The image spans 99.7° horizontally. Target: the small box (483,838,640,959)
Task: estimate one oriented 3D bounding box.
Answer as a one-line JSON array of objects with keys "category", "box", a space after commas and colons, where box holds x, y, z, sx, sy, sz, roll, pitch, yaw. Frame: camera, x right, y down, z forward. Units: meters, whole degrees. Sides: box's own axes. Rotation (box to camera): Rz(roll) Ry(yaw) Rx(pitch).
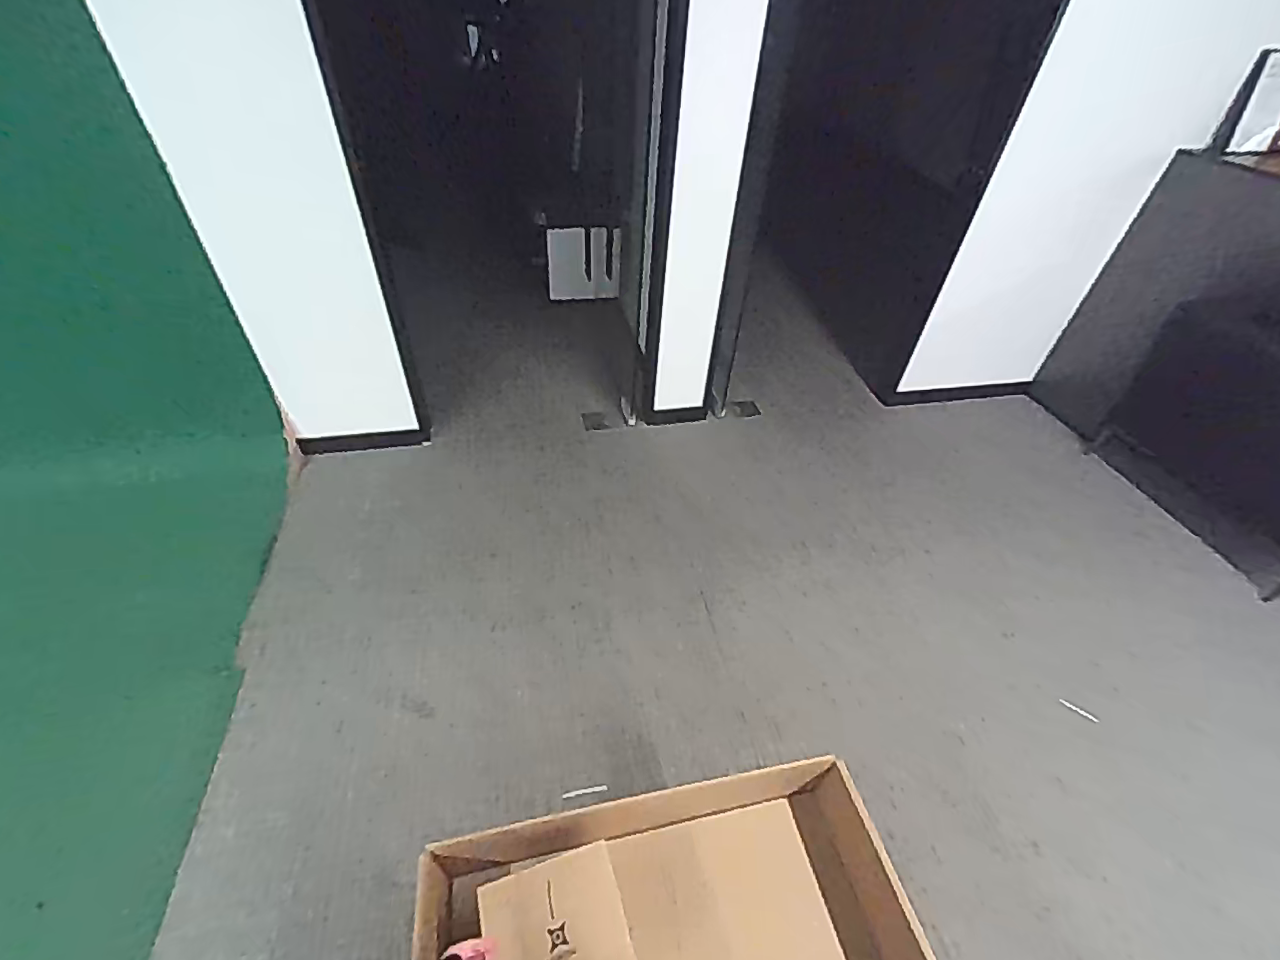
[{"category": "small box", "box": [-0.092, 0.597, 0.681, 0.168, 0.176, 0.179, -12, 44, -16]}]
